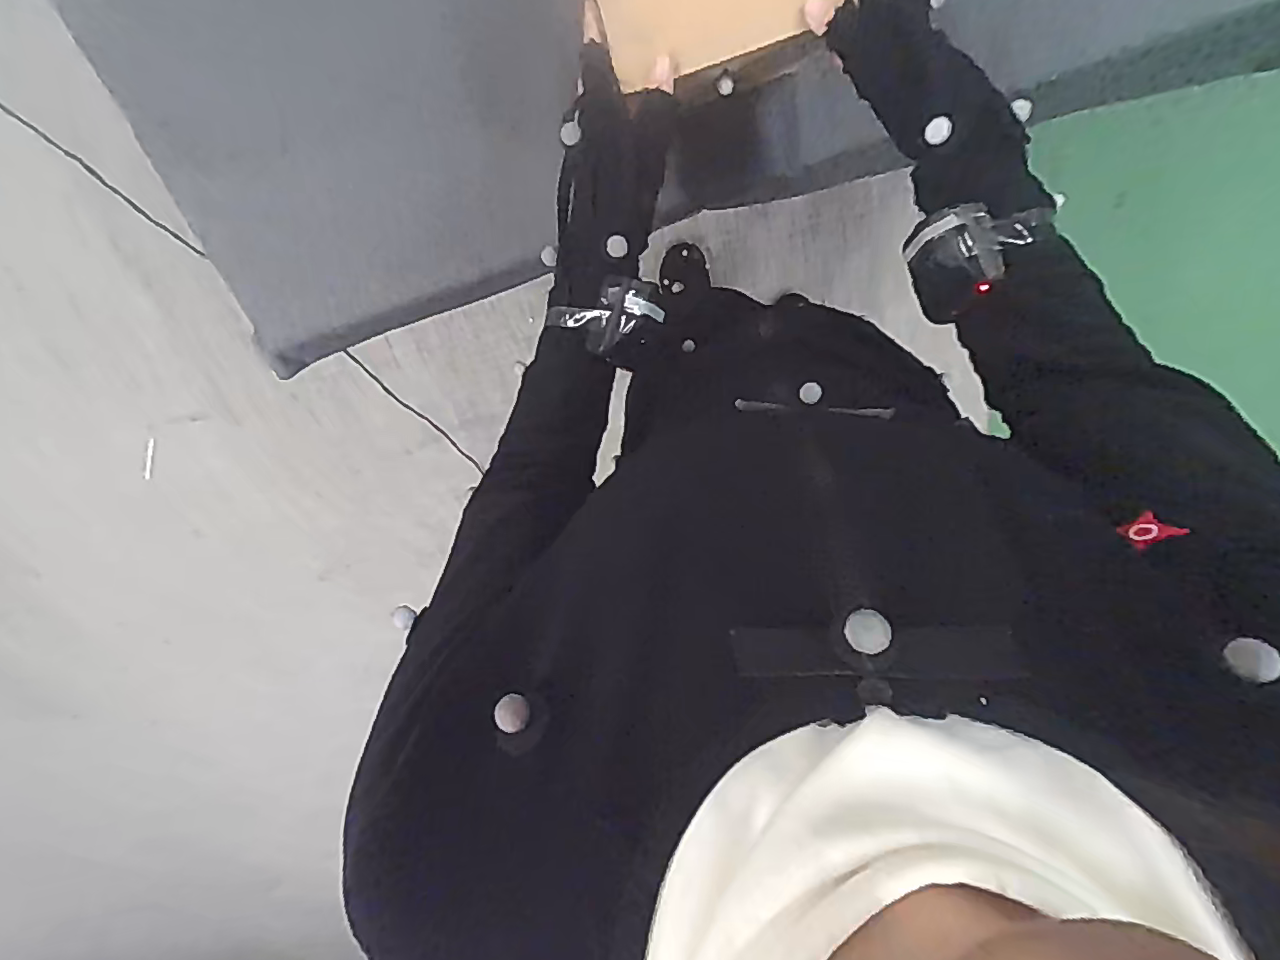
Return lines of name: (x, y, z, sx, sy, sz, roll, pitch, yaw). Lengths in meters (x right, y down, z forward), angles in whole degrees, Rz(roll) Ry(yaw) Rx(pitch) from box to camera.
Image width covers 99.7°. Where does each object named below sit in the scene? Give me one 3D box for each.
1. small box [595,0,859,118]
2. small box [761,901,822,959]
small box: (0.047, -0.408, 0.418, 0.179, 0.176, 0.168, -16, 116, 7)
small box: (0.530, 1.620, 1.891, 0.179, 0.176, 0.168, -16, 115, 8)
